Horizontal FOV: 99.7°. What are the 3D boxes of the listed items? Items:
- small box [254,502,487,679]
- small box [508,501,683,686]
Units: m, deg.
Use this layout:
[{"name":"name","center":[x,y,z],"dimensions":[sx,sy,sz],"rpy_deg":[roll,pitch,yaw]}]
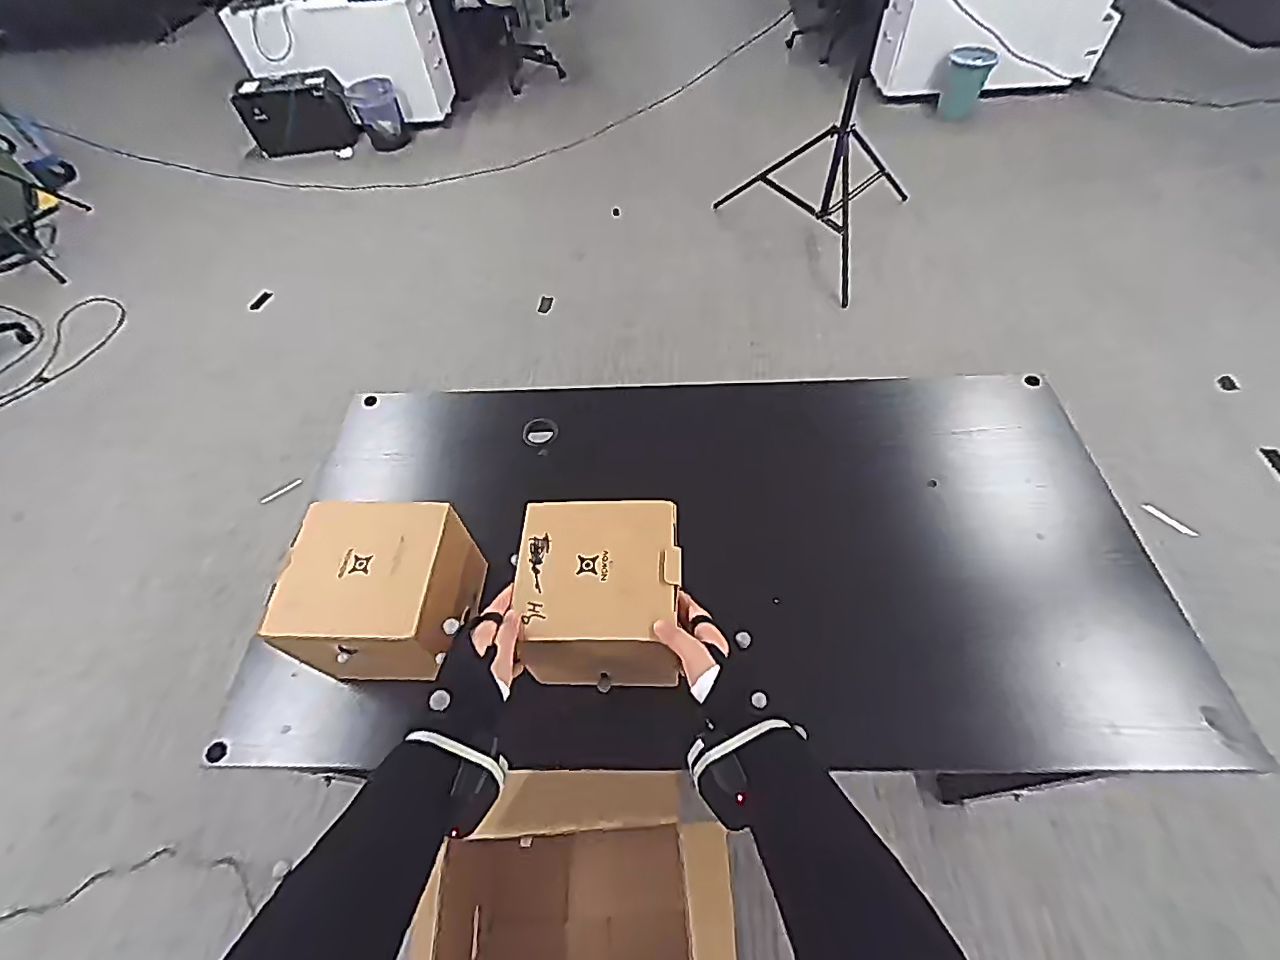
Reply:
[{"name":"small box","center":[-0.306,0.140,0.662],"dimensions":[0.179,0.176,0.168],"rpy_deg":[0,56,2]},{"name":"small box","center":[-0.040,0.139,0.644],"dimensions":[0.179,0.176,0.168],"rpy_deg":[0,55,3]}]
